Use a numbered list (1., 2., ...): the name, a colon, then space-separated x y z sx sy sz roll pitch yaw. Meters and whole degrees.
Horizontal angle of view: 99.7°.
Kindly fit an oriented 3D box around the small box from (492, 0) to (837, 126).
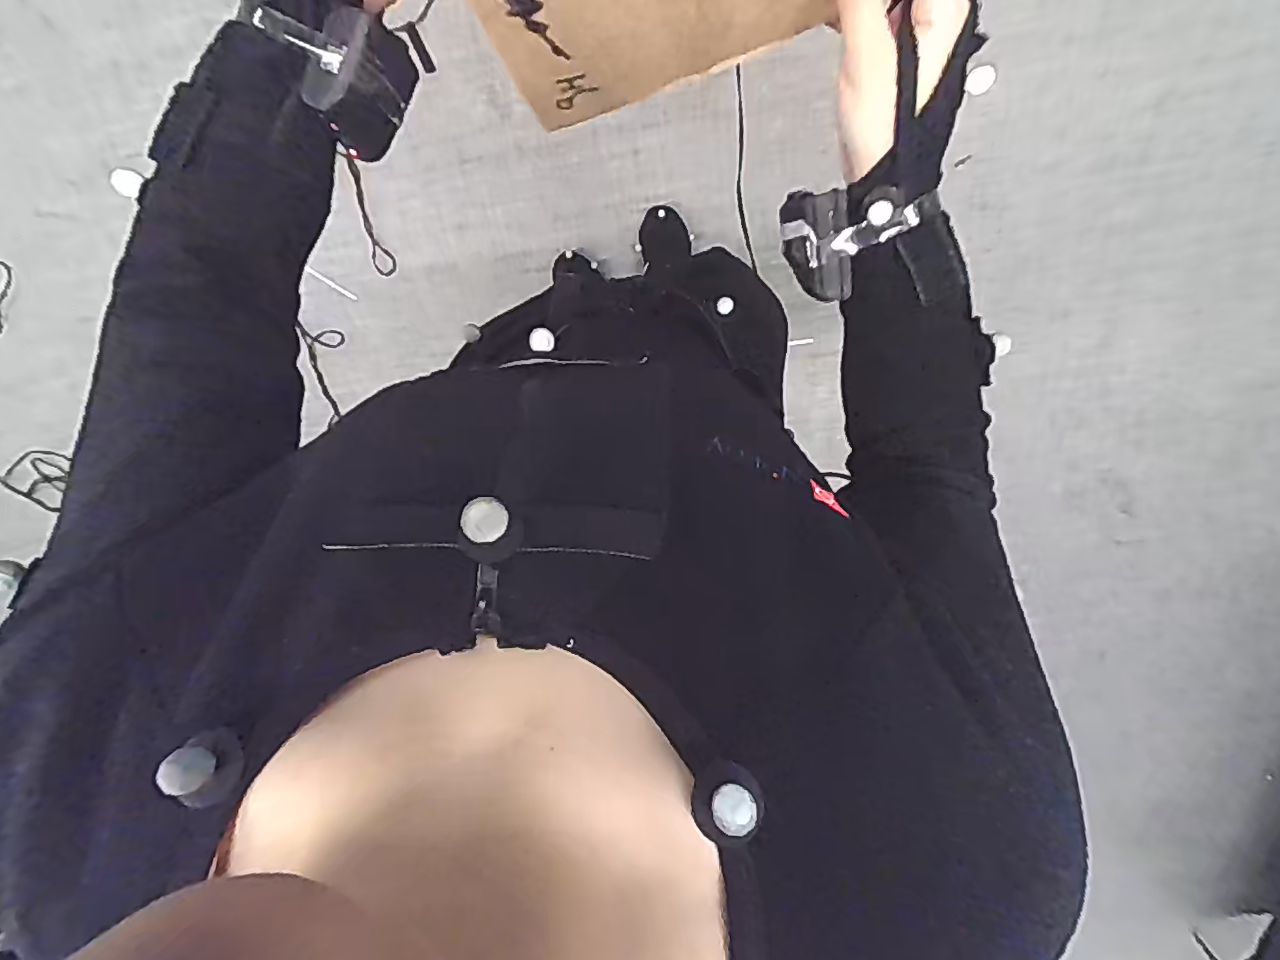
1. small box: -0.006 -0.304 0.223 0.179 0.168 0.176 -18 93 9
